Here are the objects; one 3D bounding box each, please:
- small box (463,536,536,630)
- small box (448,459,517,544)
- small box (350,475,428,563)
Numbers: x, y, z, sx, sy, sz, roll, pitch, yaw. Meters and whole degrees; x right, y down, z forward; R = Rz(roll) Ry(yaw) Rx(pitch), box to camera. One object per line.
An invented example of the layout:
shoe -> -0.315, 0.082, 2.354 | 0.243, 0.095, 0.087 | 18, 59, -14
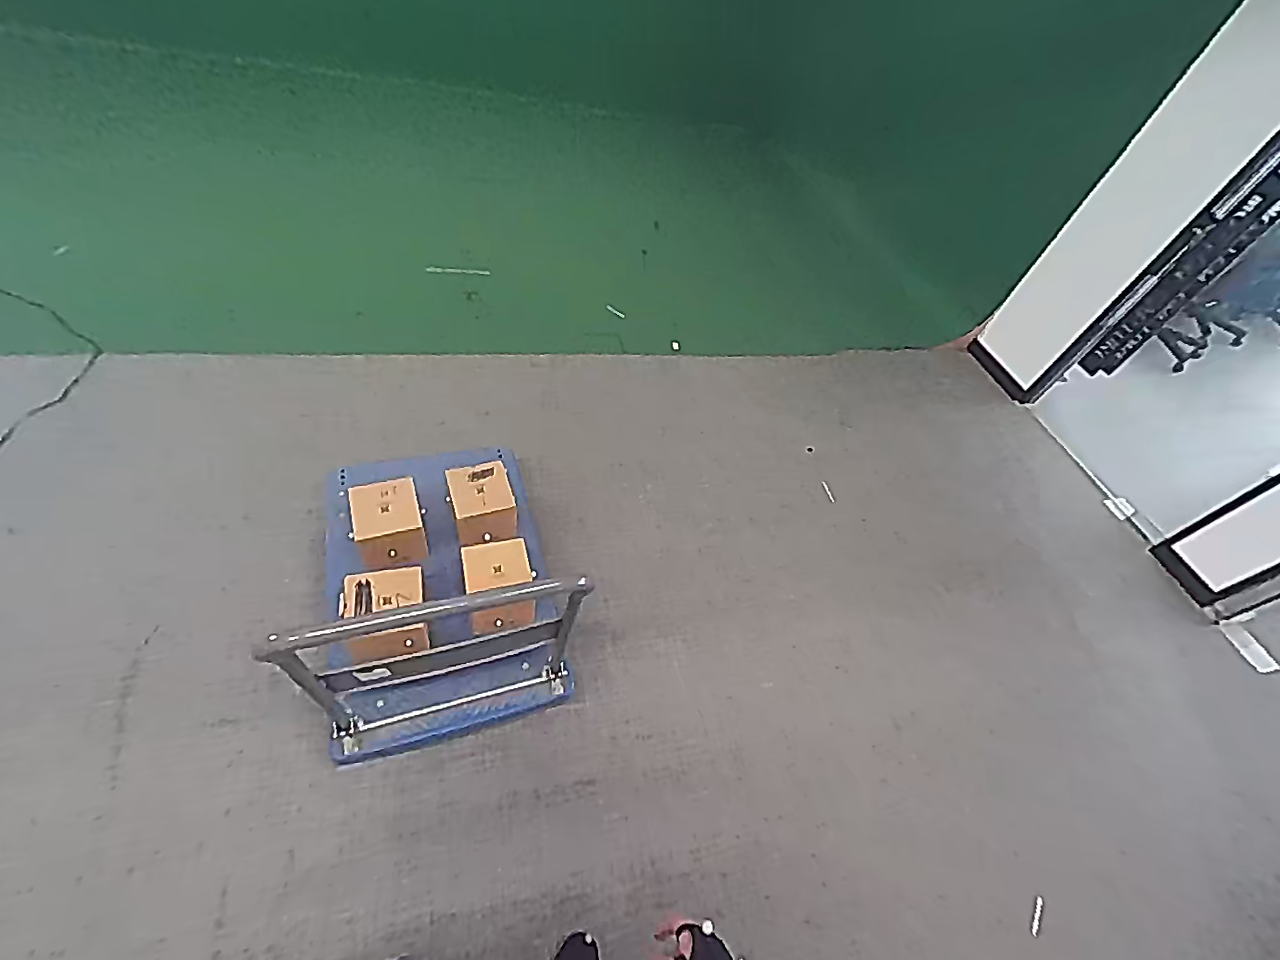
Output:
small box -> -0.381, 0.277, 1.455 | 0.168, 0.176, 0.179 | -8, 55, -20
small box -> -0.466, 0.065, 1.599 | 0.168, 0.176, 0.179 | -12, 58, -21
small box -> -0.694, 0.114, 1.504 | 0.168, 0.176, 0.179 | -11, 56, -22
